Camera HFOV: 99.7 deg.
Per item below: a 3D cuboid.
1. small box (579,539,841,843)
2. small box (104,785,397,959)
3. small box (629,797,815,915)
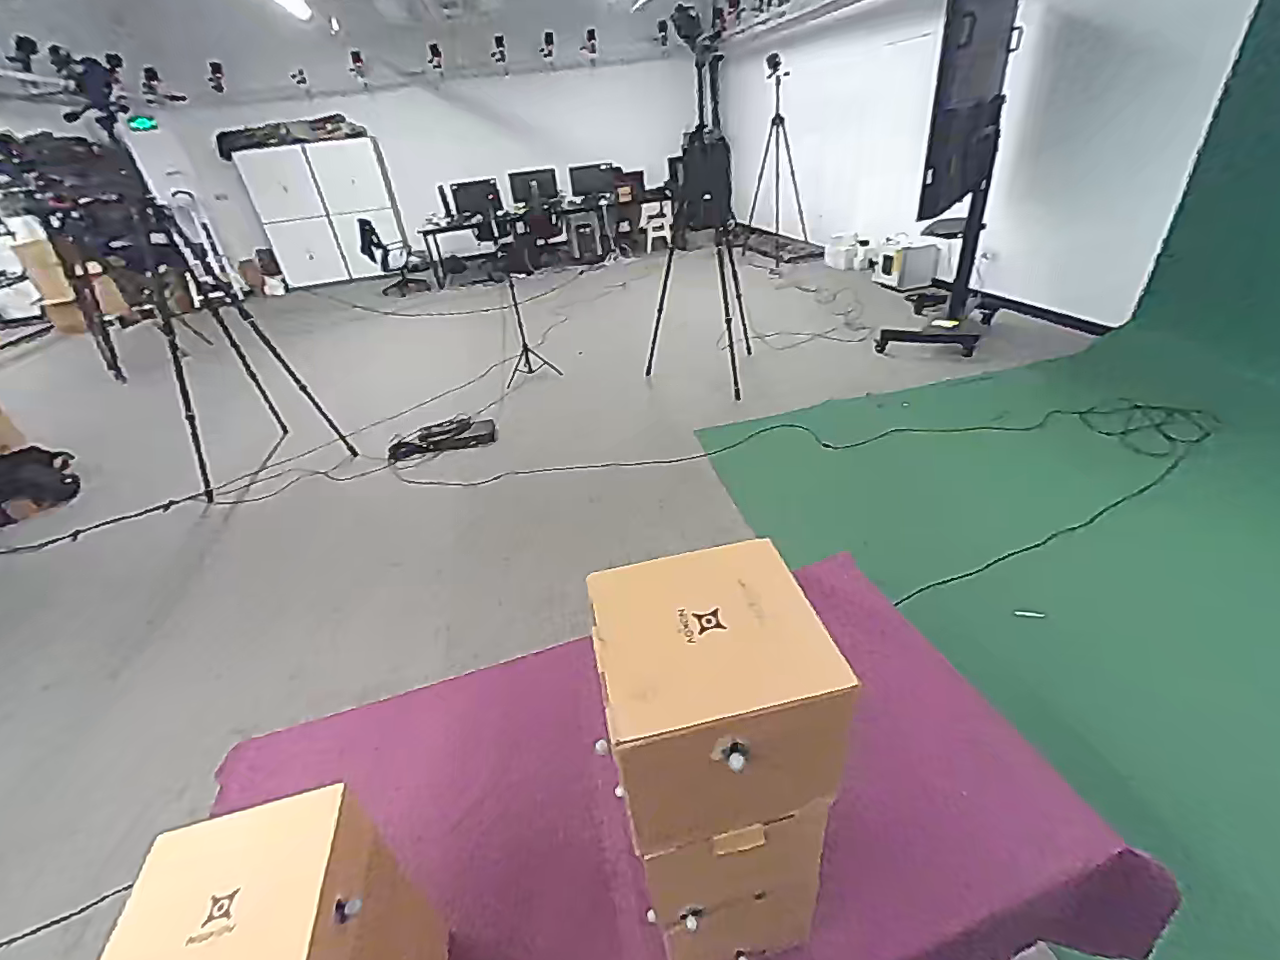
[{"bbox_3d":[0.052,0.181,0.473,0.179,0.176,0.168,-11,34,-5],"label":"small box"},{"bbox_3d":[-0.336,0.424,0.488,0.168,0.176,0.179,-13,34,-8],"label":"small box"},{"bbox_3d":[0.068,0.314,0.566,0.168,0.176,0.179,-12,32,-6],"label":"small box"}]
